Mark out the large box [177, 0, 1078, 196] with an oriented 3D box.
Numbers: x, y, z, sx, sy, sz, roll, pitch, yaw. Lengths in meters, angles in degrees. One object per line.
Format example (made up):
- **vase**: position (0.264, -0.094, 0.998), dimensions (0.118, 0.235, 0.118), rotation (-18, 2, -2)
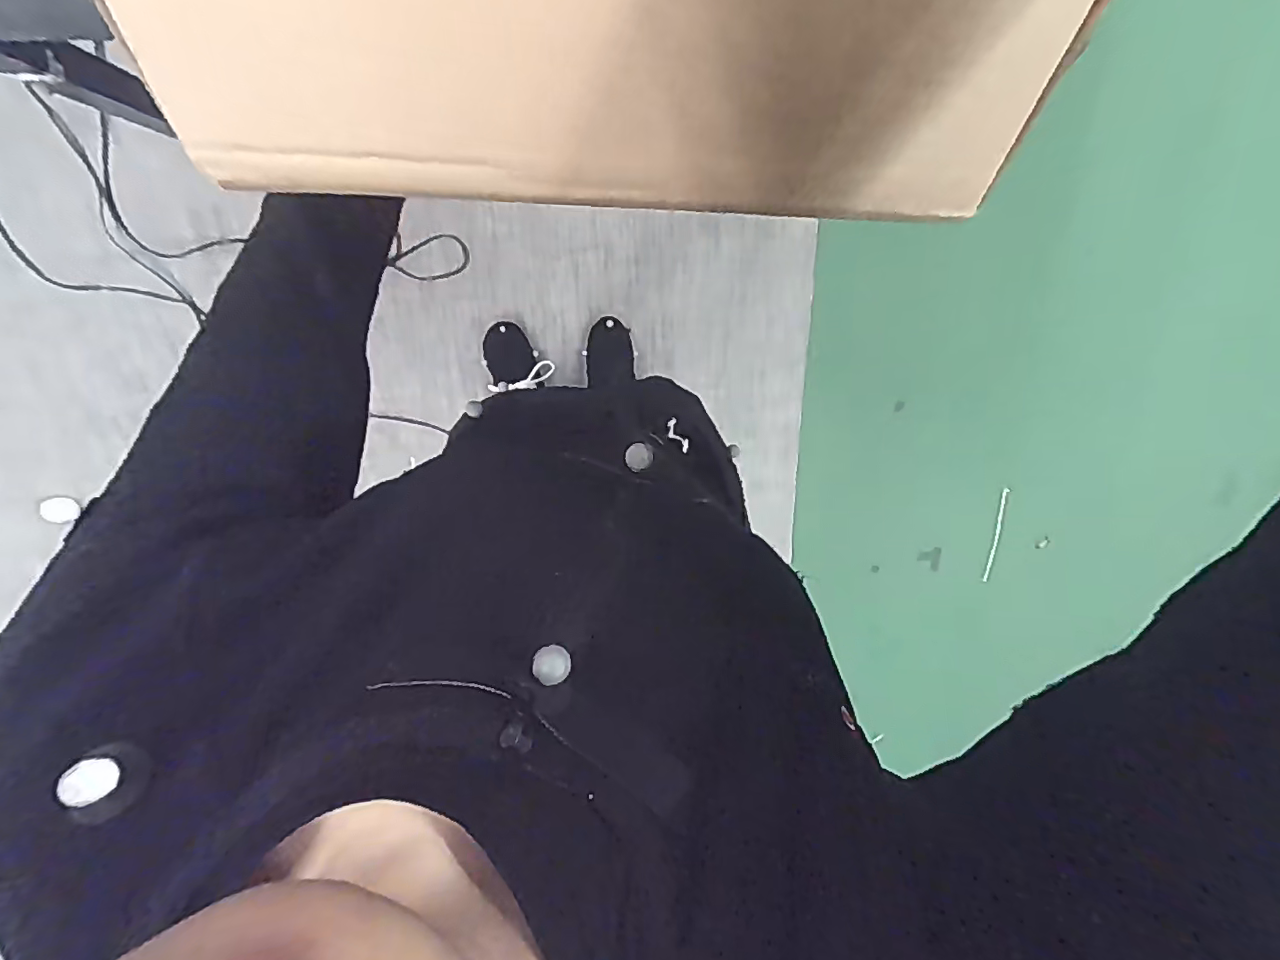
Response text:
- **large box**: position (-0.012, -0.368, 0.222), dimensions (0.320, 0.408, 0.320), rotation (-1, 143, -7)
